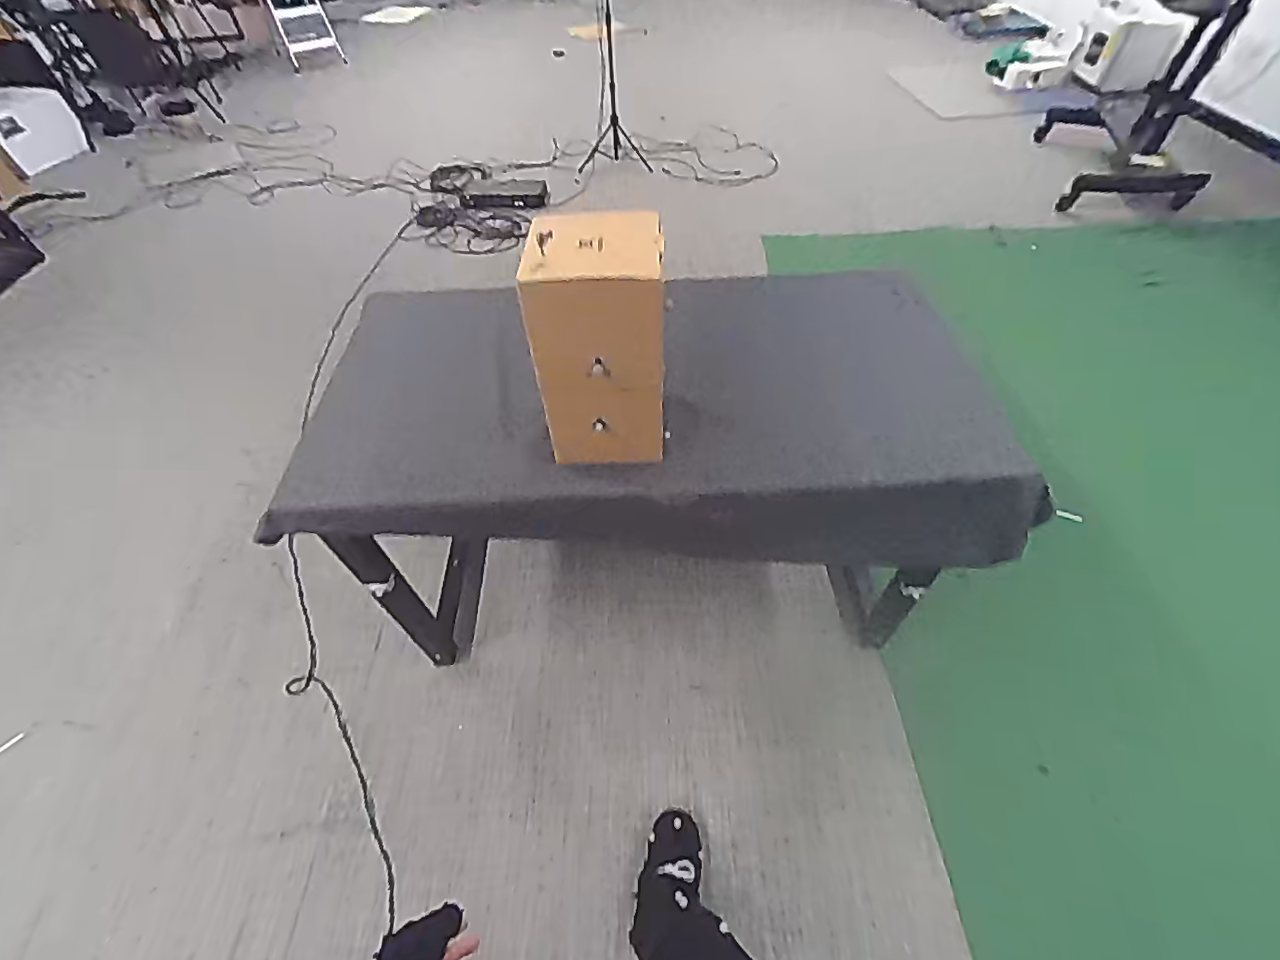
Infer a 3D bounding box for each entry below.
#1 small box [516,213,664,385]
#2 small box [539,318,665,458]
[{"bbox_3d":[-0.057,-0.246,0.748,0.179,0.176,0.168,0,51,2],"label":"small box"},{"bbox_3d":[-0.051,-0.149,0.877,0.179,0.176,0.168,1,49,3],"label":"small box"}]
